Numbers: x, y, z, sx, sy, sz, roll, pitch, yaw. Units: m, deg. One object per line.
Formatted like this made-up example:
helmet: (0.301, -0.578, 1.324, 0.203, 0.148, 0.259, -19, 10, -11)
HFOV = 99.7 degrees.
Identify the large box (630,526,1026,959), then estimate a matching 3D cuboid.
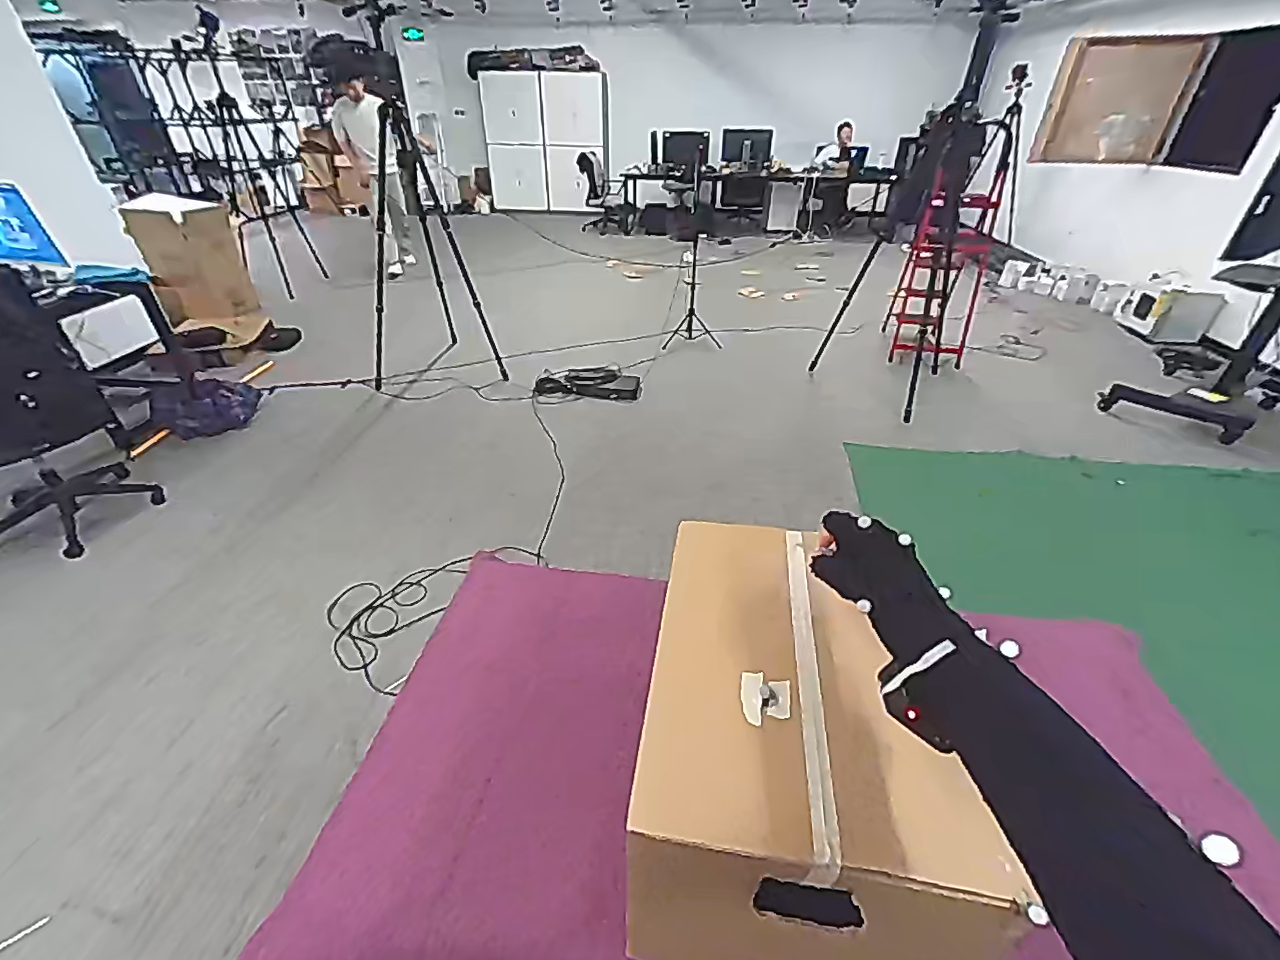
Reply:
large box: (0.172, 0.314, 0.673, 0.320, 0.320, 0.408, 6, 35, 8)
